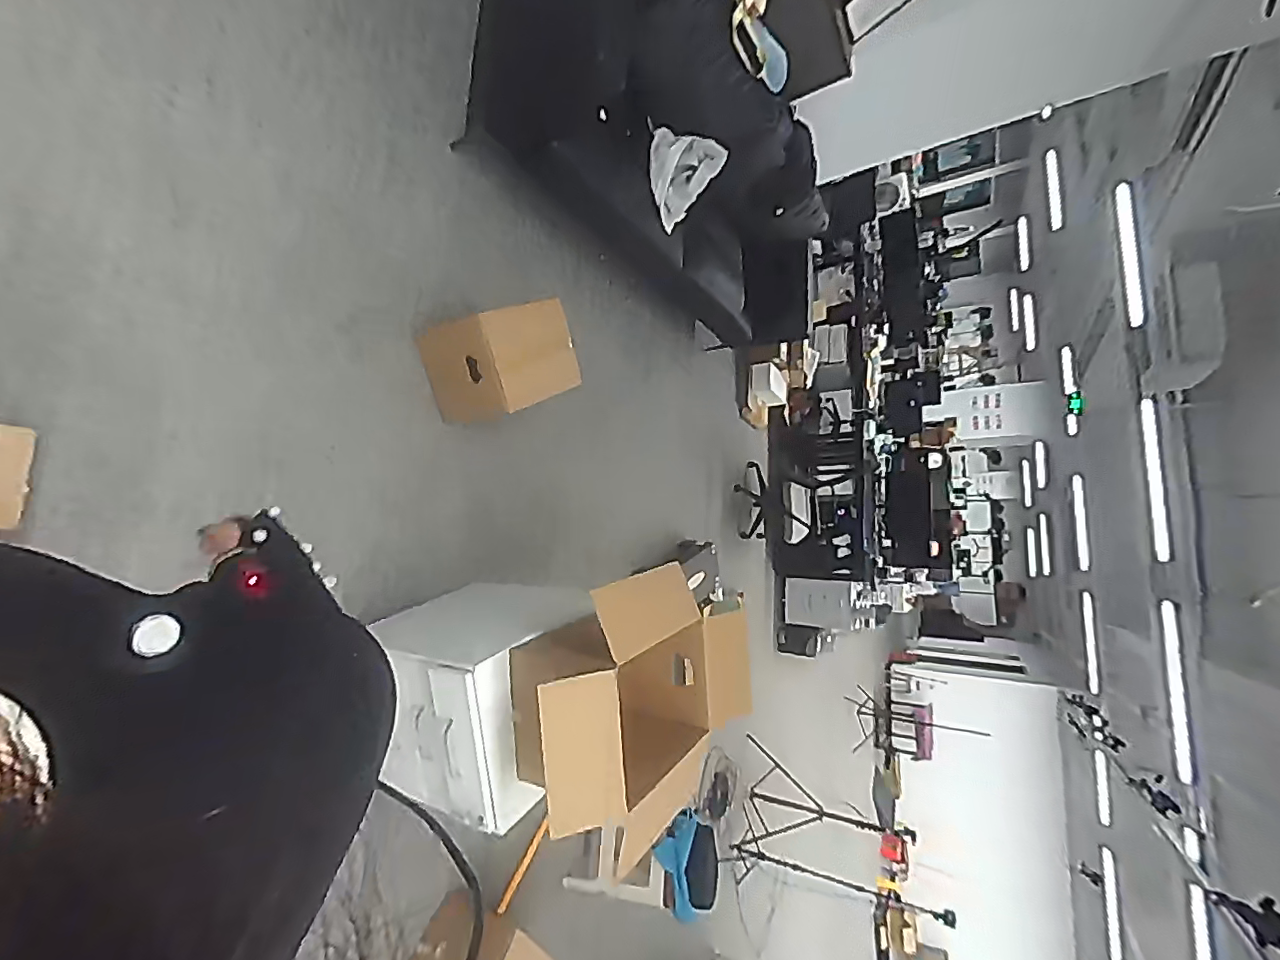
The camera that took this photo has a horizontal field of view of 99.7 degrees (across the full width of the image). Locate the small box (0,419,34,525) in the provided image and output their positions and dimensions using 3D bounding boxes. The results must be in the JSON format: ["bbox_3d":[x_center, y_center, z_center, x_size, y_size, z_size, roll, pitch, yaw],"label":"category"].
[{"bbox_3d":[-1.160,-0.020,0.896,0.168,0.176,0.179,14,76,-58],"label":"small box"}]
